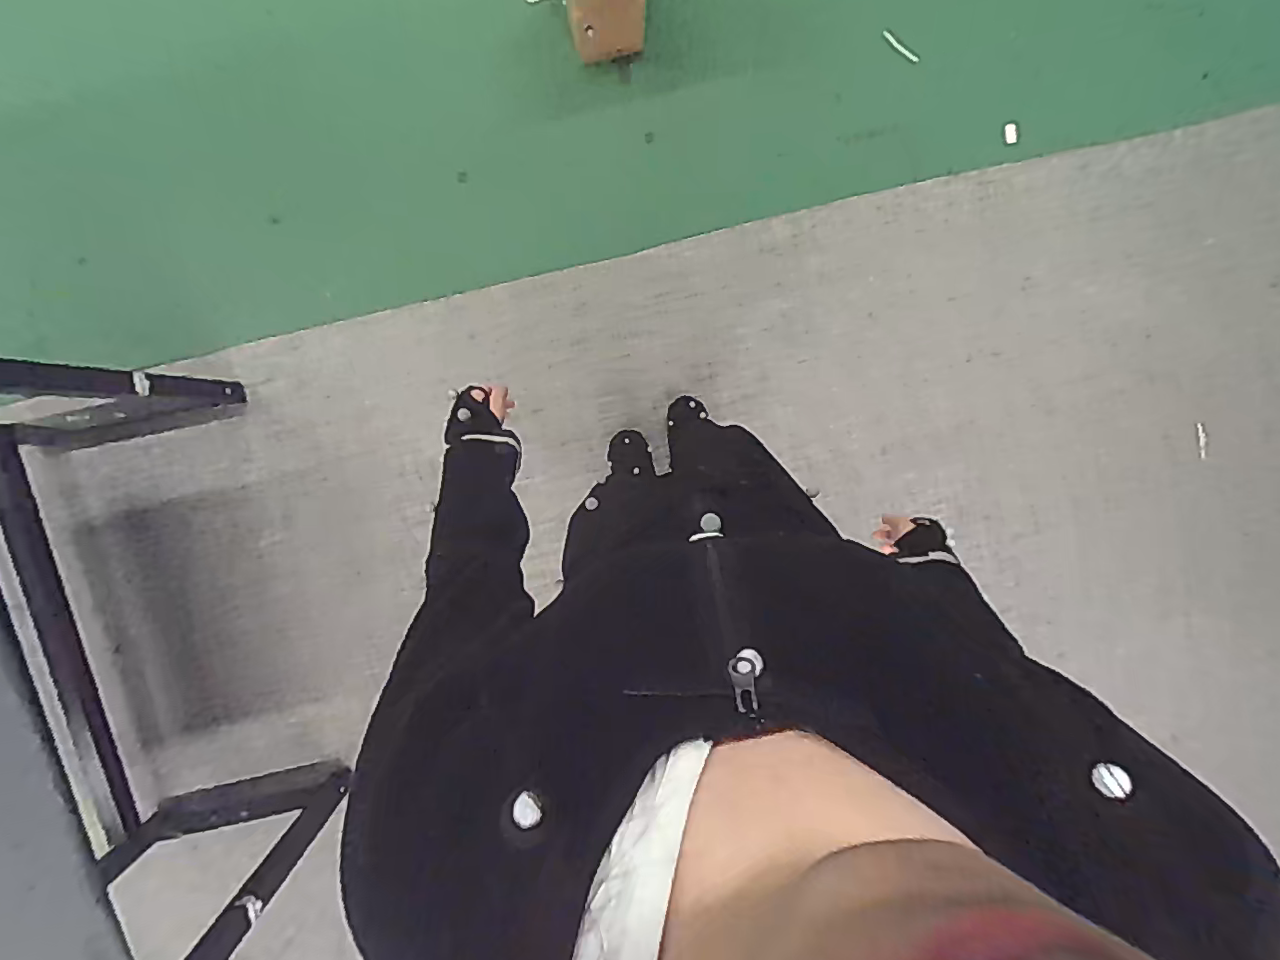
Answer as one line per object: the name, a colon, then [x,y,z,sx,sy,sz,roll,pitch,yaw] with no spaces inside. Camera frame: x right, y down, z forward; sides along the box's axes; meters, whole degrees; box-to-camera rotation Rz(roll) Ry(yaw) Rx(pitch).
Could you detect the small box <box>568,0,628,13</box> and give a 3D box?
small box: [-0.096,-1.146,1.131,0.168,0.176,0.179,-16,96,0]
